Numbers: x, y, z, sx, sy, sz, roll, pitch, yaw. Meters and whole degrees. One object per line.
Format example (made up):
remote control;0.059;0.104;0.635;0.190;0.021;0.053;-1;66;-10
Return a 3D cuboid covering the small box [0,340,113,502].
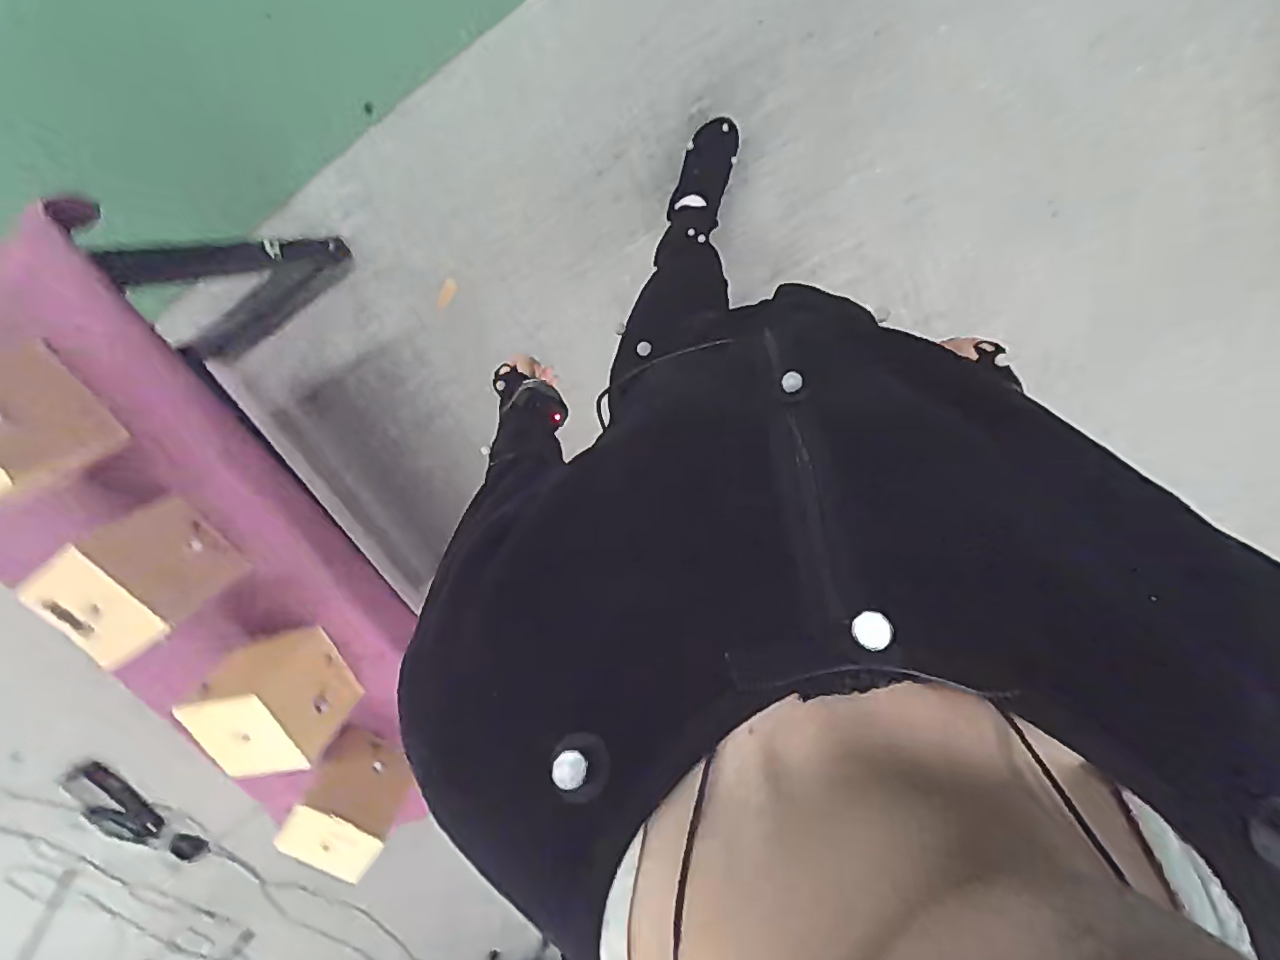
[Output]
small box;-0.907;-0.068;0.745;0.168;0.176;0.179;-24;111;17

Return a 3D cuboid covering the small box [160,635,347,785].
small box;-0.646;0.391;0.937;0.179;0.176;0.168;-13;114;12

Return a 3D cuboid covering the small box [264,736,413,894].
small box;-0.568;0.638;1.040;0.168;0.176;0.179;32;113;-10

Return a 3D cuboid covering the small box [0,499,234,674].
small box;-0.795;0.160;0.841;0.179;0.176;0.168;-29;109;17
